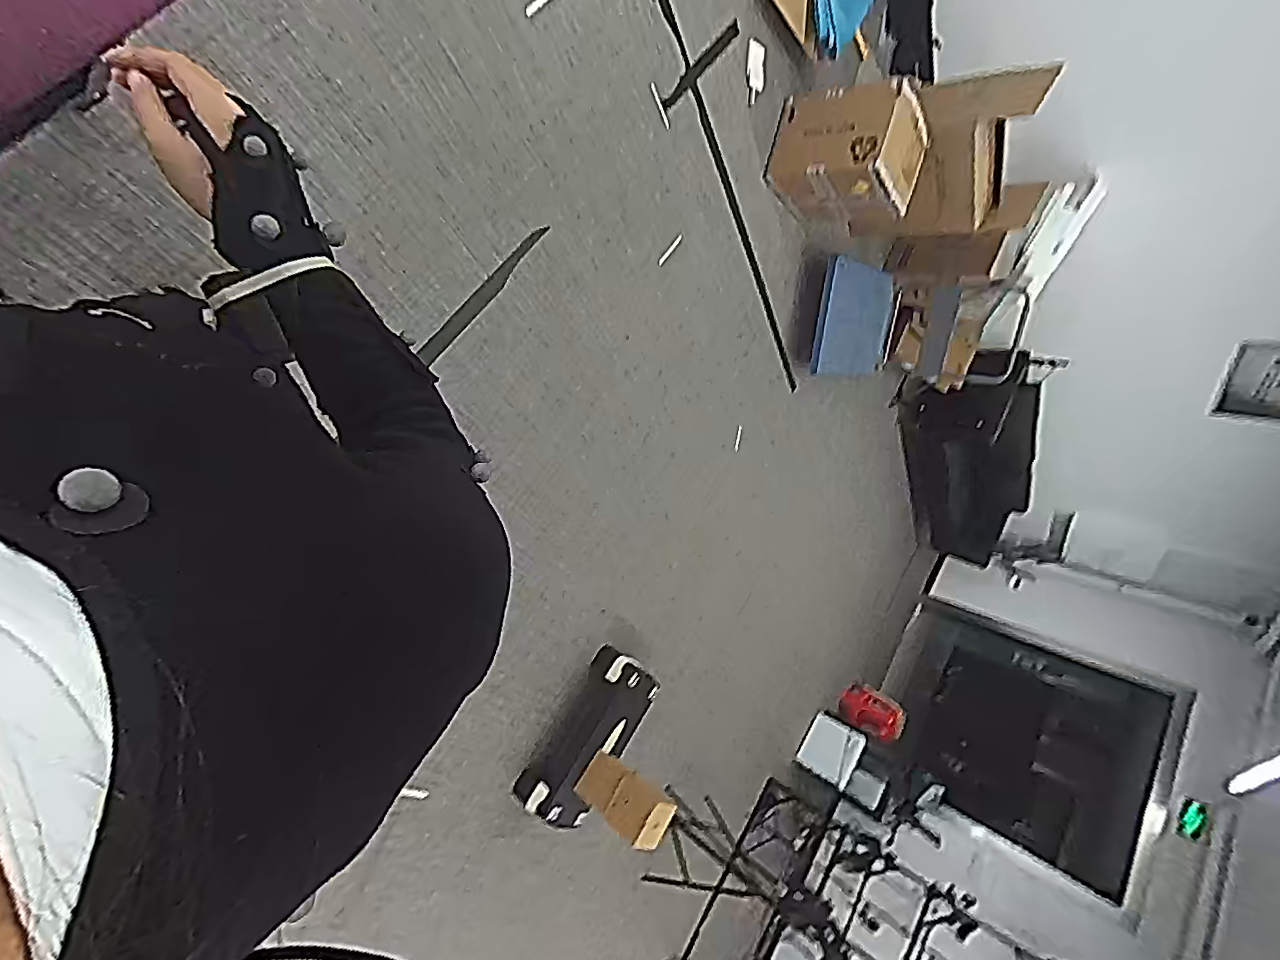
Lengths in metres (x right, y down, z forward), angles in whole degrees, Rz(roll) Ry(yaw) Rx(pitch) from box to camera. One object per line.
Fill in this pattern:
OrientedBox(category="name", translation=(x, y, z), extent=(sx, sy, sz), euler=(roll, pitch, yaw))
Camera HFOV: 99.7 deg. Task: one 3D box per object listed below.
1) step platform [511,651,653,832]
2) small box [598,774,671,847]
OrientedBox(category="step platform", translation=(-0.217, 1.082, 2.253), extent=(0.684, 0.204, 0.286), euler=(-57, 139, -18))
OrientedBox(category="small box", translation=(-0.020, 1.224, 2.005), extent=(0.168, 0.176, 0.179), euler=(-57, 138, -16))
